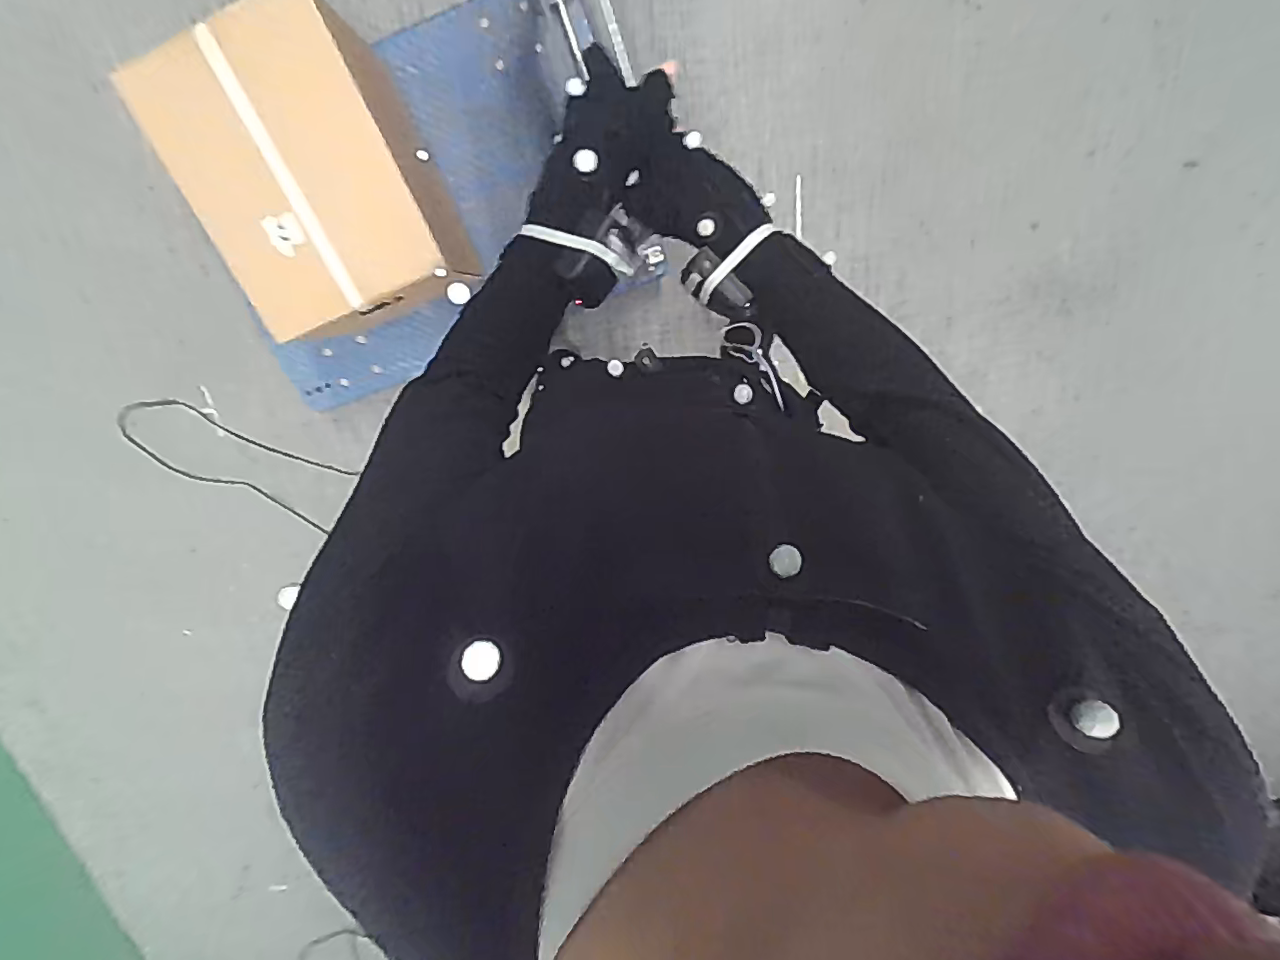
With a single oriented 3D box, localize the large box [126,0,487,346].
[{"bbox_3d":[-0.526,-0.496,0.959,0.320,0.320,0.408,-23,109,4],"label":"large box"}]
